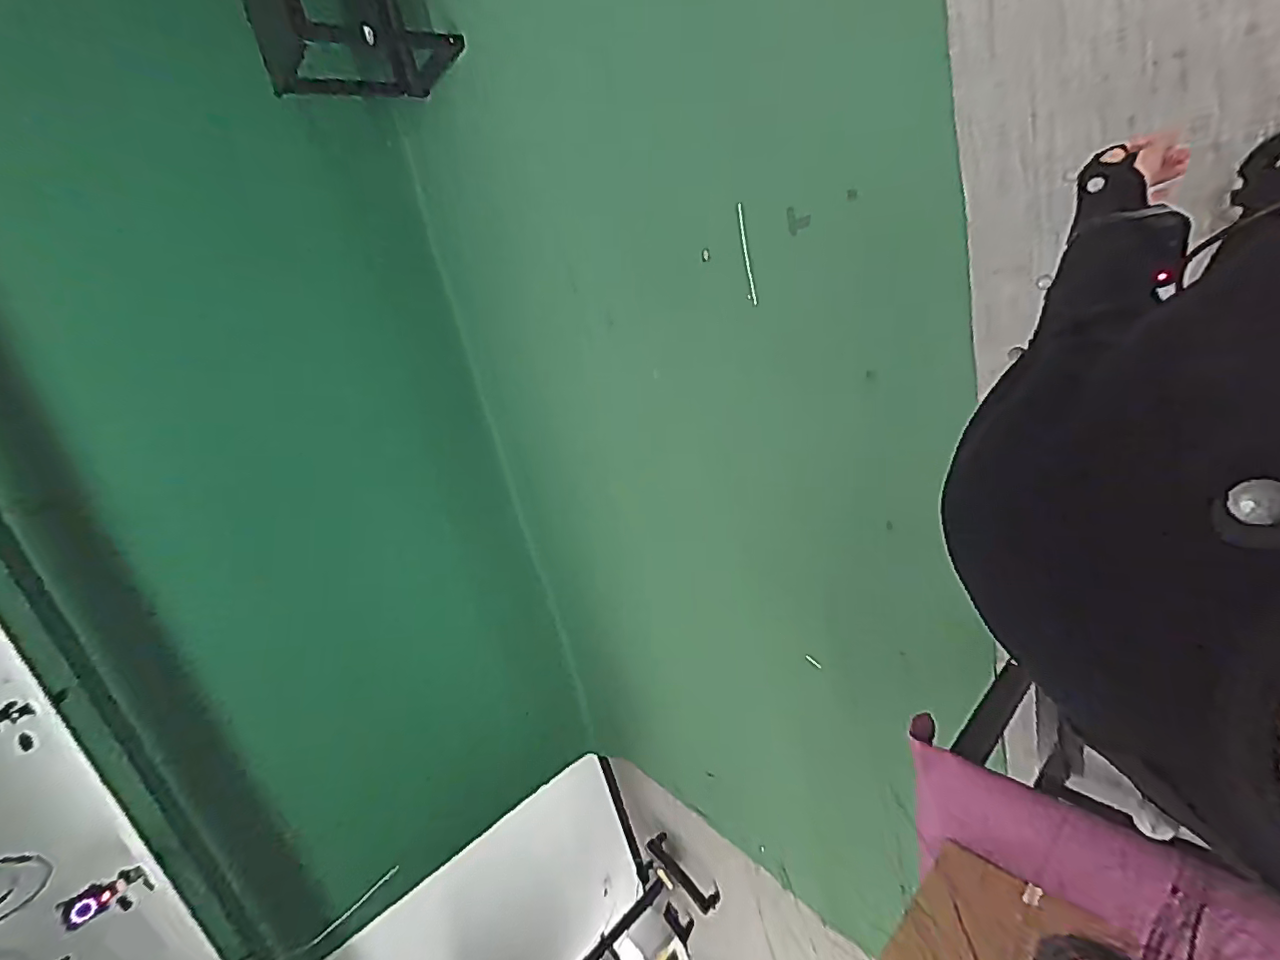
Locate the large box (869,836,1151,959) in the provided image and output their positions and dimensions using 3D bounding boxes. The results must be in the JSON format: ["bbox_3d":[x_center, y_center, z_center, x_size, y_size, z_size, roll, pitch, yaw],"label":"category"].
[{"bbox_3d":[0.630,0.941,0.915,0.320,0.320,0.408,6,114,50],"label":"large box"}]
